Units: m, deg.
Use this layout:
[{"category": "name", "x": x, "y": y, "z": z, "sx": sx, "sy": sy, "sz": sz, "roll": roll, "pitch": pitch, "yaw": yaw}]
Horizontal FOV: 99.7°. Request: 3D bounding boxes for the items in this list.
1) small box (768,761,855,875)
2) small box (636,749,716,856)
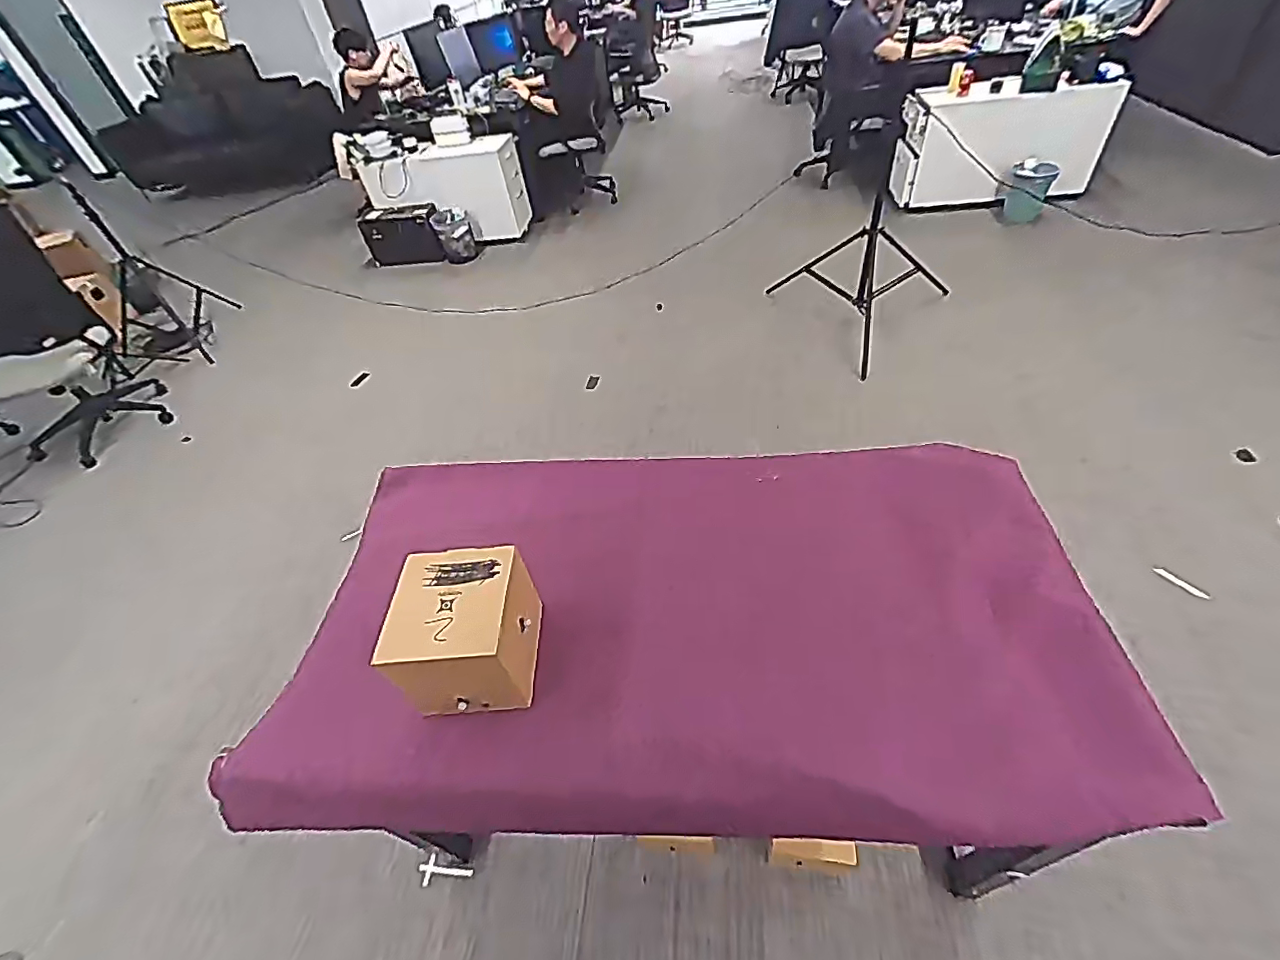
[{"category": "small box", "x": 0.376, "y": 0.755, "z": 1.204, "sx": 0.168, "sy": 0.176, "sz": 0.179, "roll": 2, "pitch": 46, "yaw": 11}, {"category": "small box", "x": 0.090, "y": 0.749, "z": 1.253, "sx": 0.168, "sy": 0.176, "sz": 0.179, "roll": 0, "pitch": 46, "yaw": 9}]
